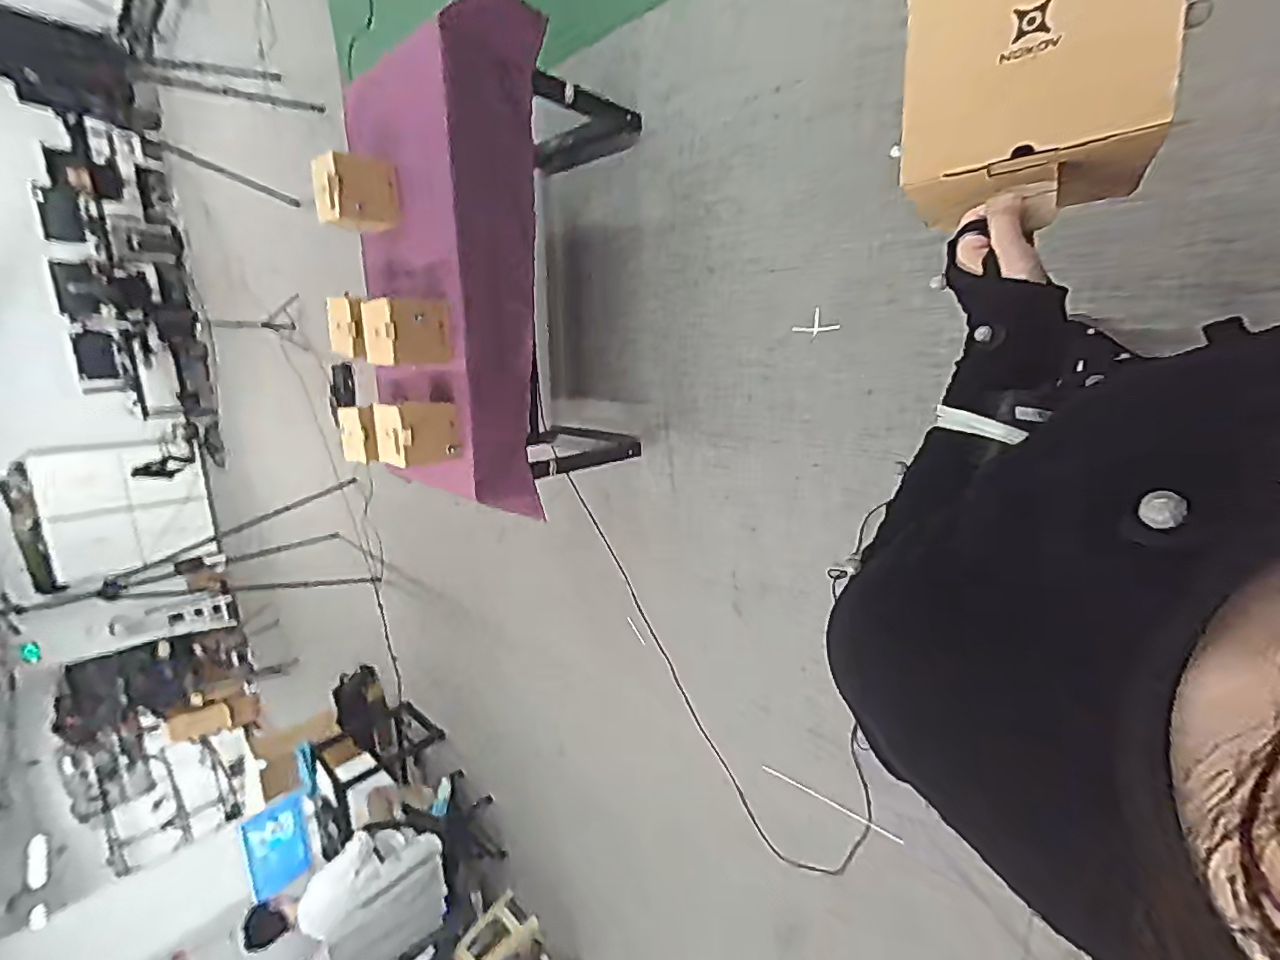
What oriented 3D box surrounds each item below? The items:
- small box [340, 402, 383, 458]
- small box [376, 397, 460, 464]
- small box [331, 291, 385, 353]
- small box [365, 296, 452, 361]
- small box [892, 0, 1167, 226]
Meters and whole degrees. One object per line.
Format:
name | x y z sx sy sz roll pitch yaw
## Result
small box | -0.838 -0.167 1.749 0.179 0.176 0.168 7 104 41
small box | -0.634 -0.150 1.560 0.179 0.176 0.168 11 107 43
small box | -0.824 -0.482 1.661 0.179 0.176 0.168 20 114 38
small box | -0.635 -0.417 1.500 0.179 0.176 0.168 13 108 42
small box | 0.322 -0.340 0.463 0.168 0.176 0.179 4 102 35
